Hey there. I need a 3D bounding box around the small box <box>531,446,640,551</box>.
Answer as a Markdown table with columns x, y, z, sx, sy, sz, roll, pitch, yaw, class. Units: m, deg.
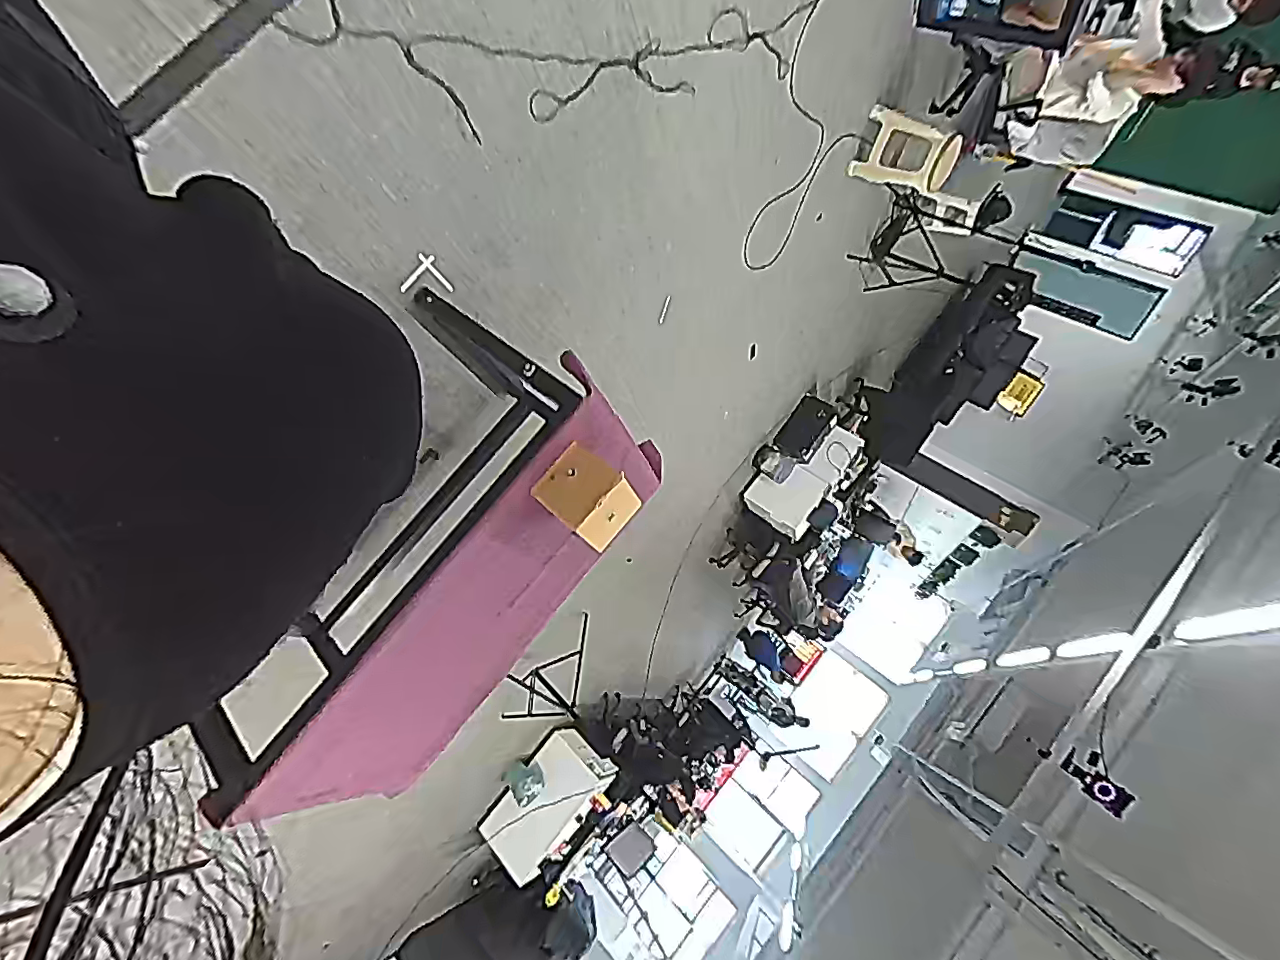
| x | y | z | sx | sy | sz | roll | pitch | yaw | class |
| --- | --- | --- | --- | --- | --- | --- | --- | --- | --- |
| -0.132 | 0.043 | 1.325 | 0.168 | 0.176 | 0.179 | -49 | 153 | -8 | small box |
